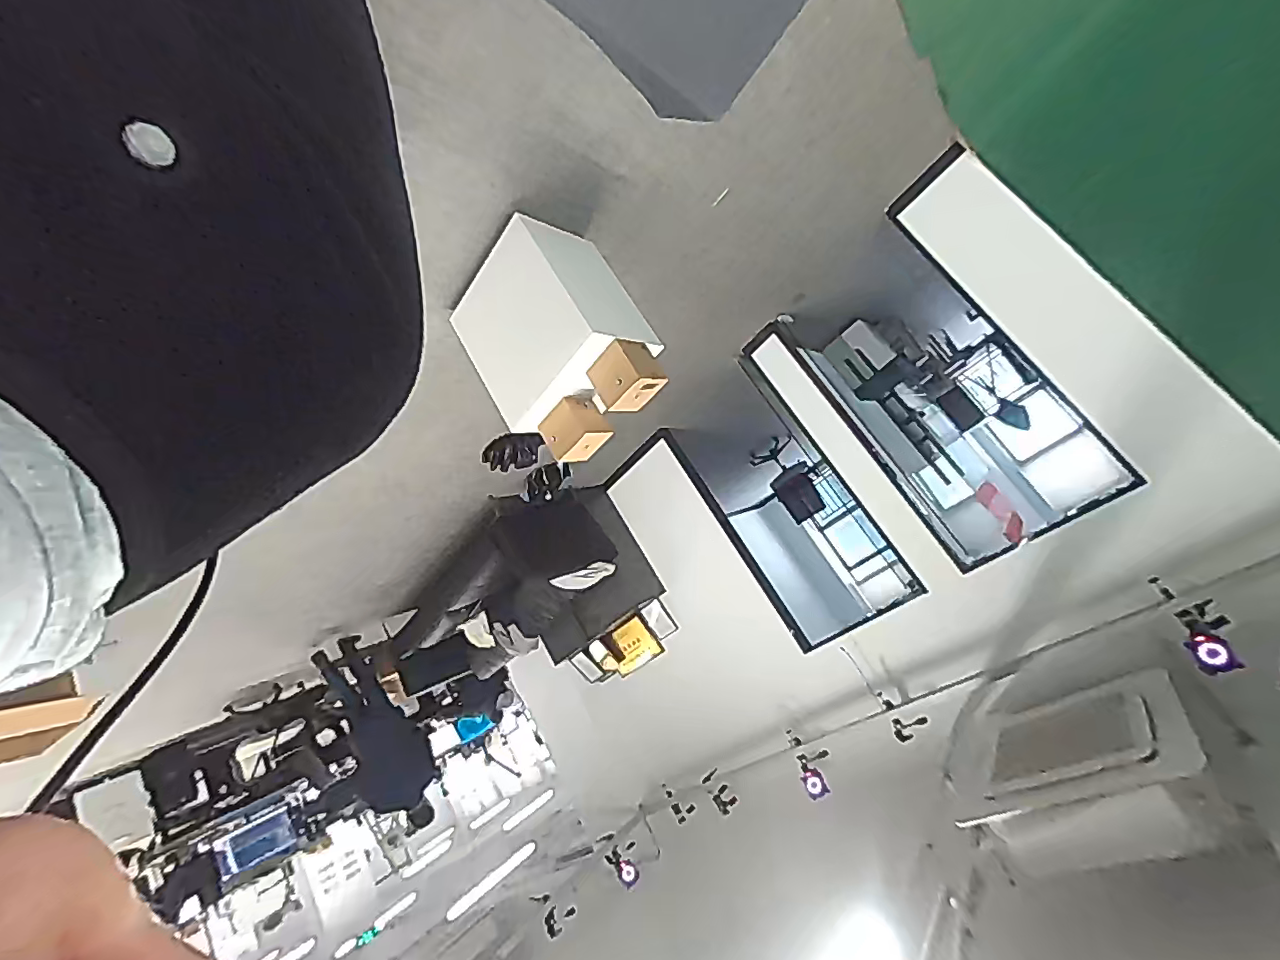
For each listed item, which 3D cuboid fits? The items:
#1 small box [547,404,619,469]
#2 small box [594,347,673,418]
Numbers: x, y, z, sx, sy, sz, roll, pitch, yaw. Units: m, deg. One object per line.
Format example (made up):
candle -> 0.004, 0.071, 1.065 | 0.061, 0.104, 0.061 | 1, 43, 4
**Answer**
small box -> -0.217, -0.159, 1.991 | 0.179, 0.176, 0.168 | -44, 160, 30
small box -> -0.028, -0.331, 1.837 | 0.168, 0.176, 0.179 | -10, 154, -51
